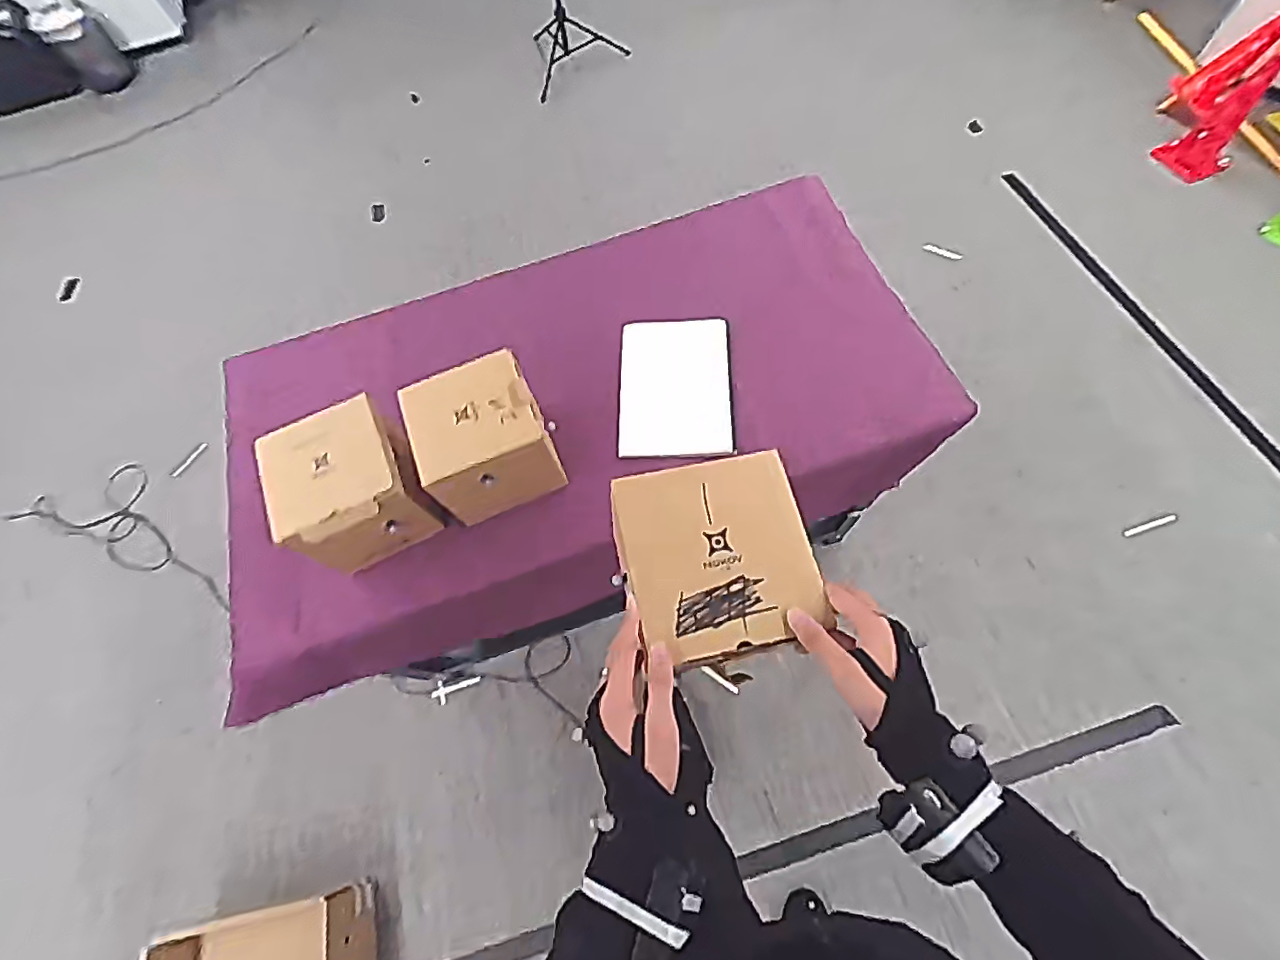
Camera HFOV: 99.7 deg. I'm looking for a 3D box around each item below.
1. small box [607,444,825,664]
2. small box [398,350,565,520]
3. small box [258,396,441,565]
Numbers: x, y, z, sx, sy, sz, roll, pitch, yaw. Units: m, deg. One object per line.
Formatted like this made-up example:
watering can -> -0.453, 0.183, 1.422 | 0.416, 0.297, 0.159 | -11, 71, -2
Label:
small box -> 0.064, 0.087, 0.560 | 0.168, 0.176, 0.179 | -10, 68, -6
small box -> -0.233, -0.059, 0.824 | 0.179, 0.176, 0.168 | -23, 67, -5
small box -> -0.425, 0.012, 0.813 | 0.168, 0.176, 0.179 | -26, 66, -7
